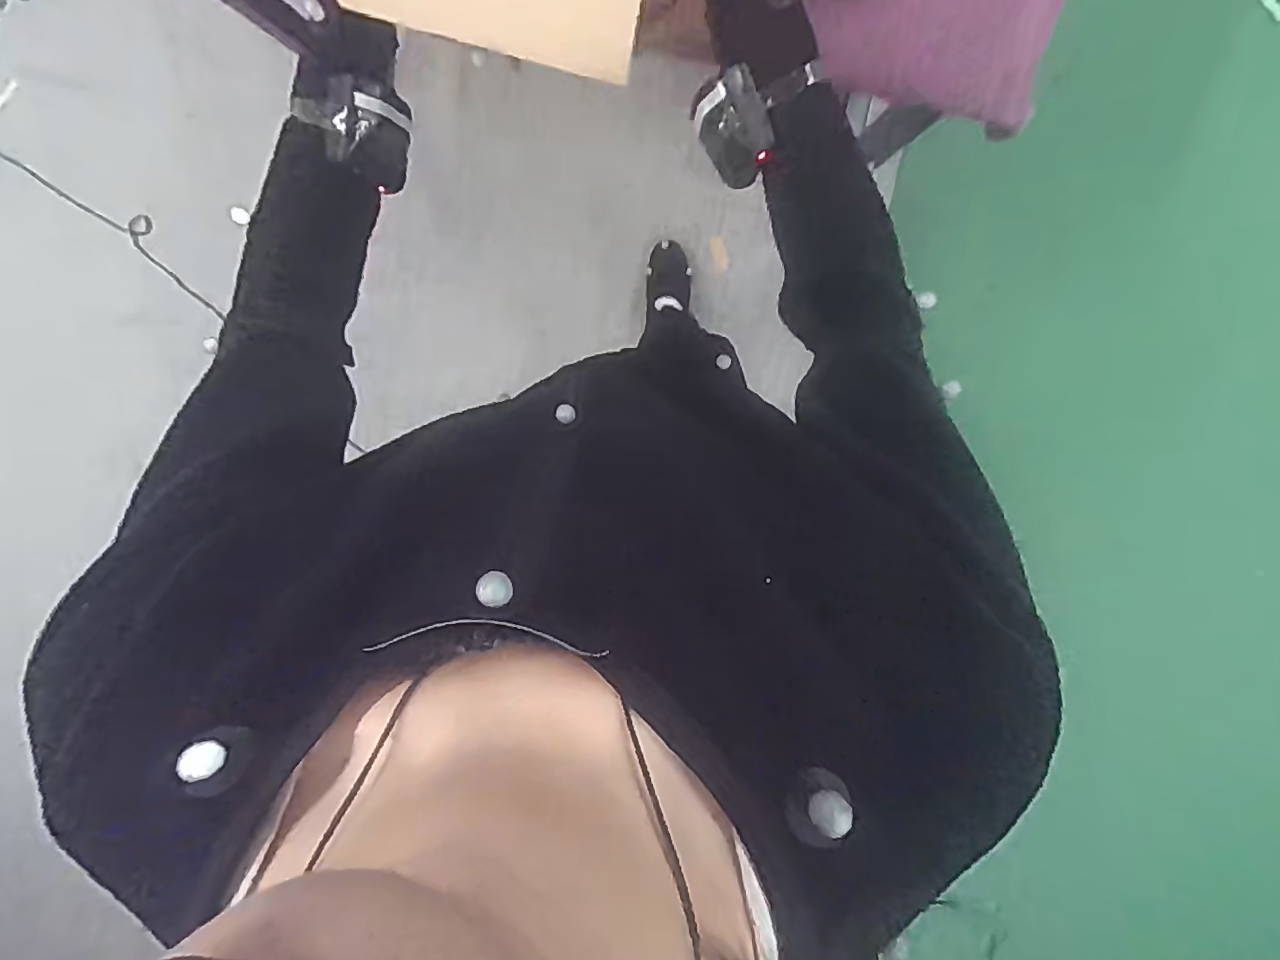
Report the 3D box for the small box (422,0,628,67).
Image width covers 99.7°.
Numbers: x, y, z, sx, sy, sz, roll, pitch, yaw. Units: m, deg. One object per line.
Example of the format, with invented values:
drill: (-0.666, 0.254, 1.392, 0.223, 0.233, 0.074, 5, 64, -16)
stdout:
small box: (-0.086, -0.487, 0.473, 0.168, 0.176, 0.179, 7, 126, -8)
